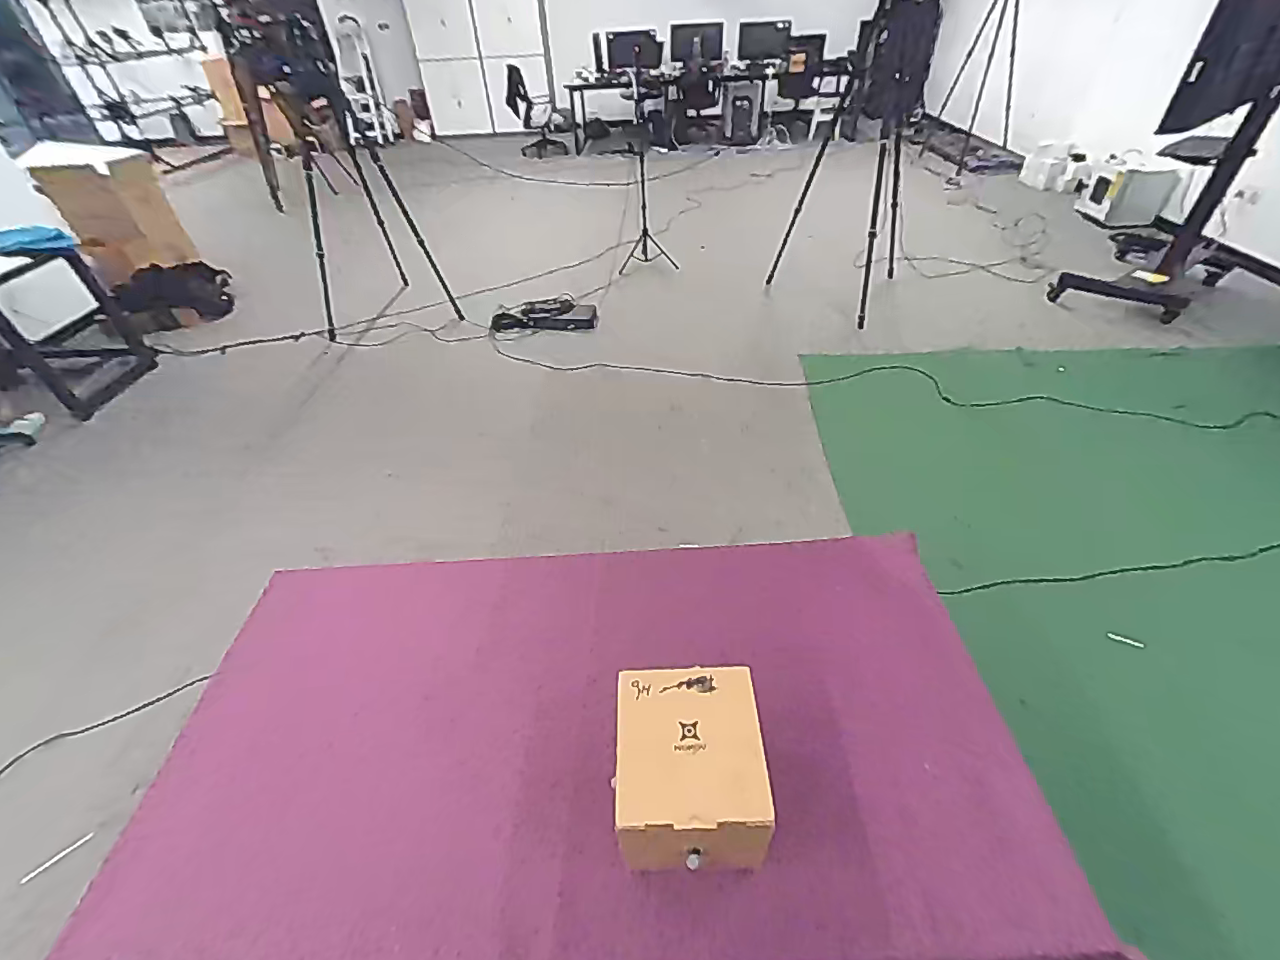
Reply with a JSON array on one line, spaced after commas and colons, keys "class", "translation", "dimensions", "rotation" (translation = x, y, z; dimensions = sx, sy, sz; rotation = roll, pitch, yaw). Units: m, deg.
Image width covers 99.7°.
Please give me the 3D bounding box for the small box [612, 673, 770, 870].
[{"class": "small box", "translation": [0.058, 0.360, 0.664], "dimensions": [0.168, 0.176, 0.179], "rotation": [-2, 42, 1]}]
